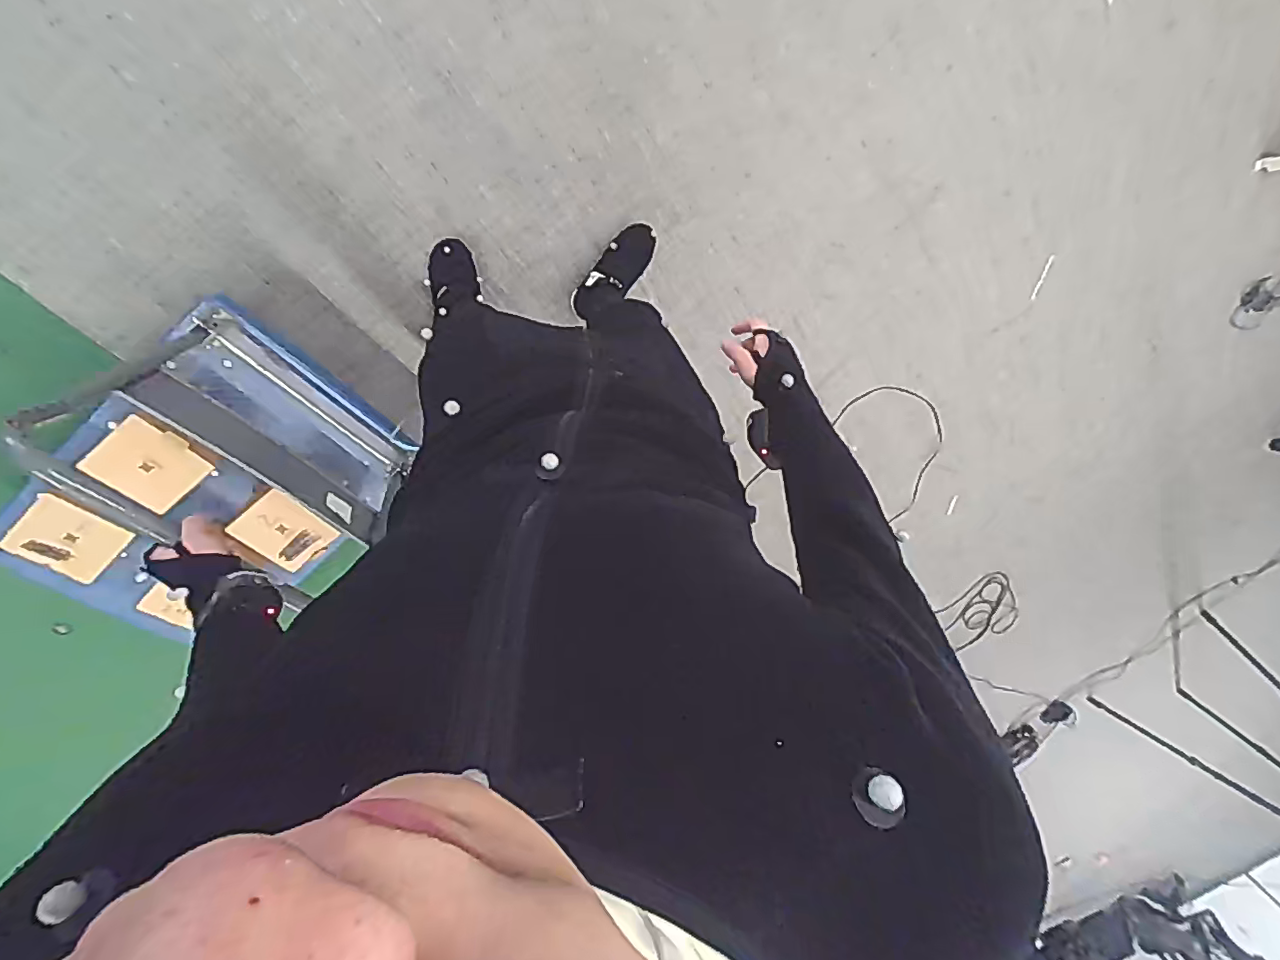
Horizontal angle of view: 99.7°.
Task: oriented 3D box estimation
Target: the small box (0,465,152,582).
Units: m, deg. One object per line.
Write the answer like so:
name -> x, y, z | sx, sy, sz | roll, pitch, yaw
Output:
small box -> -1.213, 0.082, 1.182 | 0.179, 0.176, 0.168 | -41, 122, 8

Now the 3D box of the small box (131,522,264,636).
small box -> -1.059, 0.236, 1.315 | 0.179, 0.176, 0.168 | -43, 121, 10

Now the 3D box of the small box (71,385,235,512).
small box -> -1.019, -0.071, 1.153 | 0.179, 0.176, 0.168 | -38, 122, 7
